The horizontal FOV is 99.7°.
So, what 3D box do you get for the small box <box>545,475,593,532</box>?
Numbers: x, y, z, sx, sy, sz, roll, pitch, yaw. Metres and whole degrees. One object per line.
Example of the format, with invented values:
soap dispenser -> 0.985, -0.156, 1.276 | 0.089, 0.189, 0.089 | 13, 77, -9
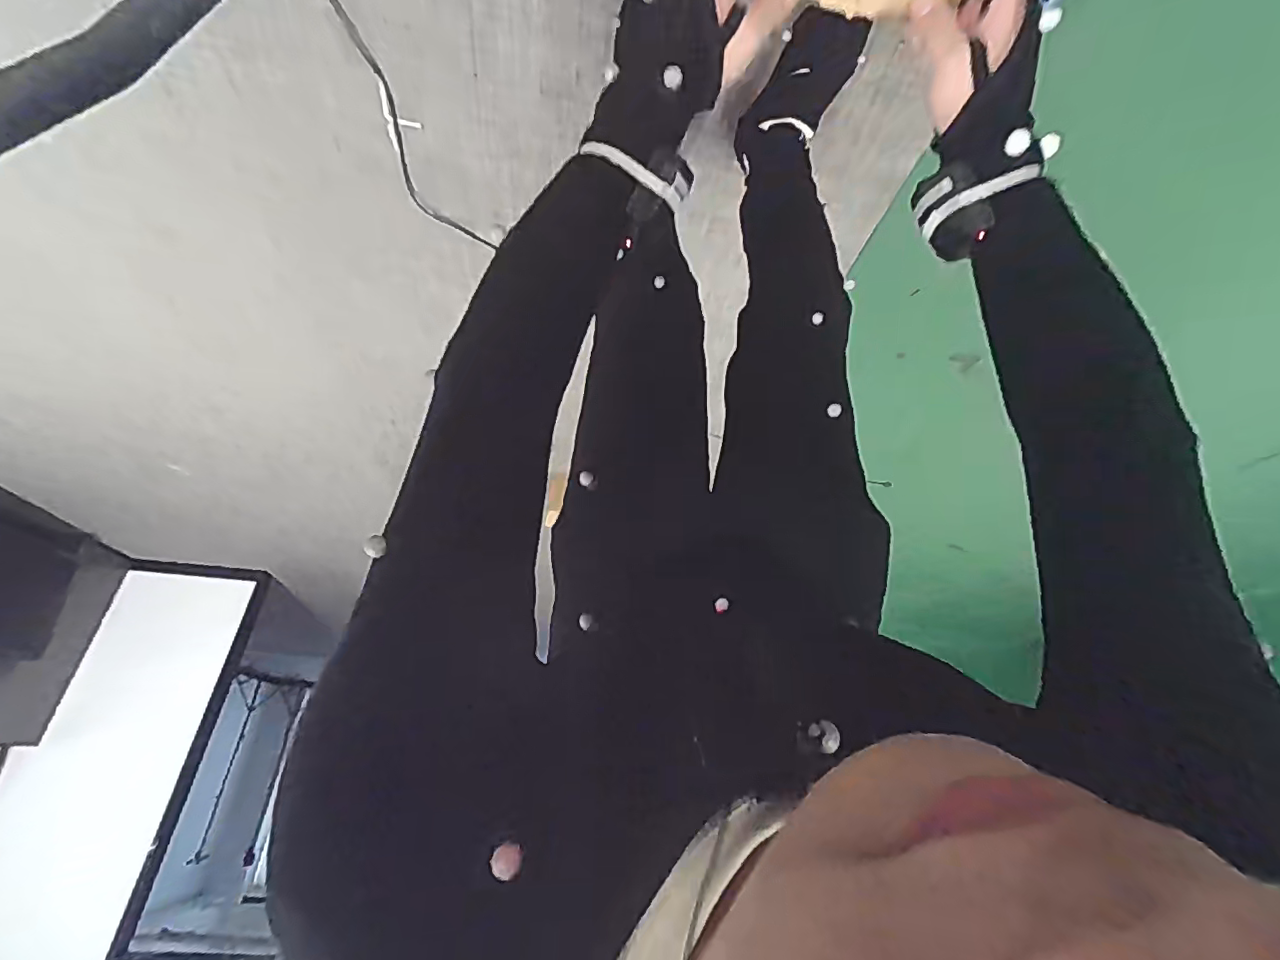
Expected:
small box -> -0.294, 0.098, 2.238 | 0.168, 0.176, 0.179 | 11, 151, -11
